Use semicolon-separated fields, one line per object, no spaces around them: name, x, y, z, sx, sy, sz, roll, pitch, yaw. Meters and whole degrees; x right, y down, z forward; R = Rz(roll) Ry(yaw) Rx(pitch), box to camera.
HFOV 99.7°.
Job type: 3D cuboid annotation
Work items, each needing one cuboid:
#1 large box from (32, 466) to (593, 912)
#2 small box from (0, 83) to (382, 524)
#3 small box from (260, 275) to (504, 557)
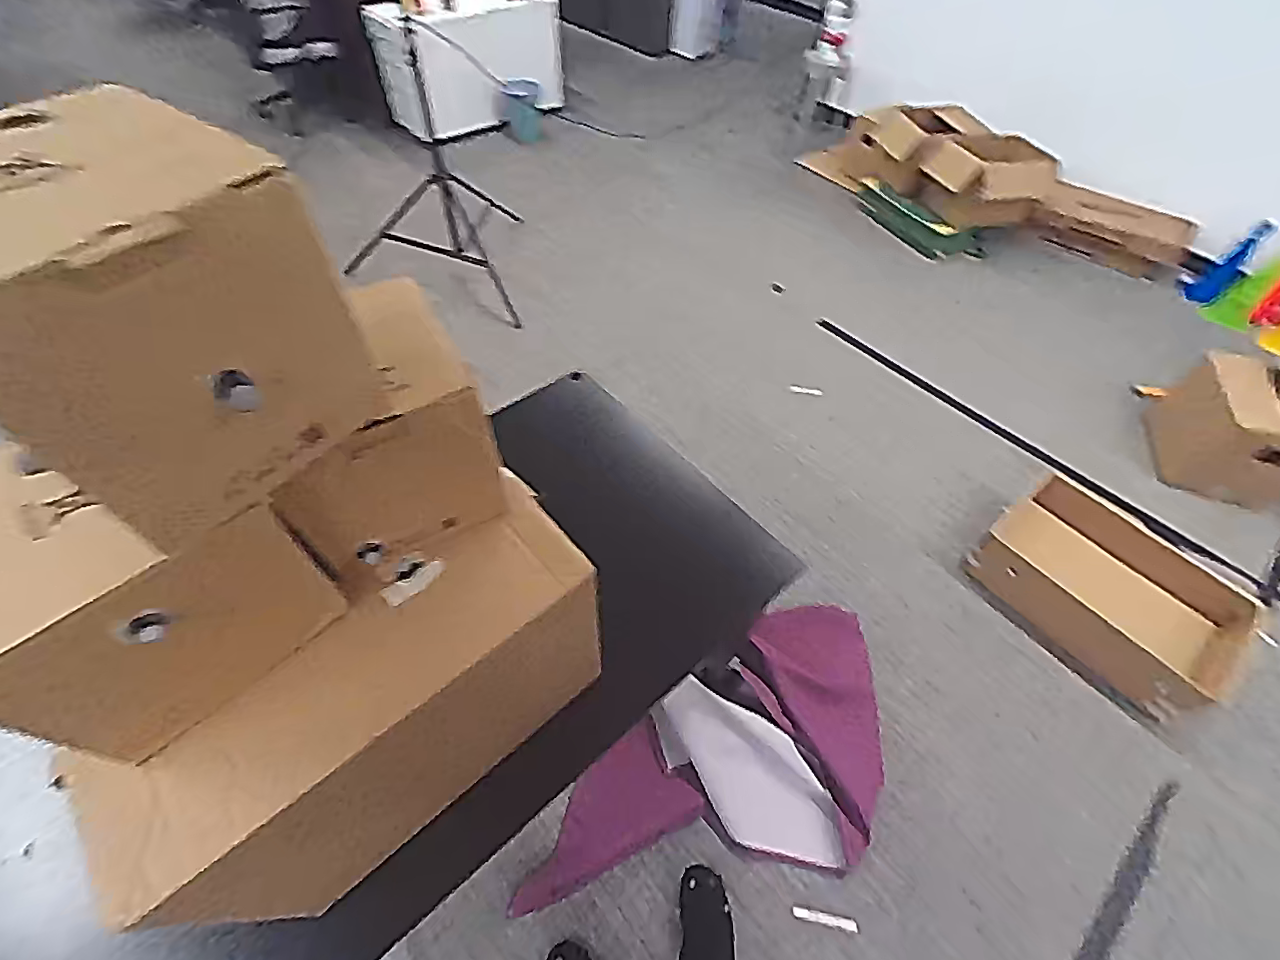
large box;-0.301;0.186;0.620;0.408;0.320;0.320;-36;63;-27
small box;-0.295;-0.098;0.326;0.179;0.176;0.168;31;57;18
small box;-0.241;-0.052;0.498;0.168;0.176;0.179;-25;57;-20
